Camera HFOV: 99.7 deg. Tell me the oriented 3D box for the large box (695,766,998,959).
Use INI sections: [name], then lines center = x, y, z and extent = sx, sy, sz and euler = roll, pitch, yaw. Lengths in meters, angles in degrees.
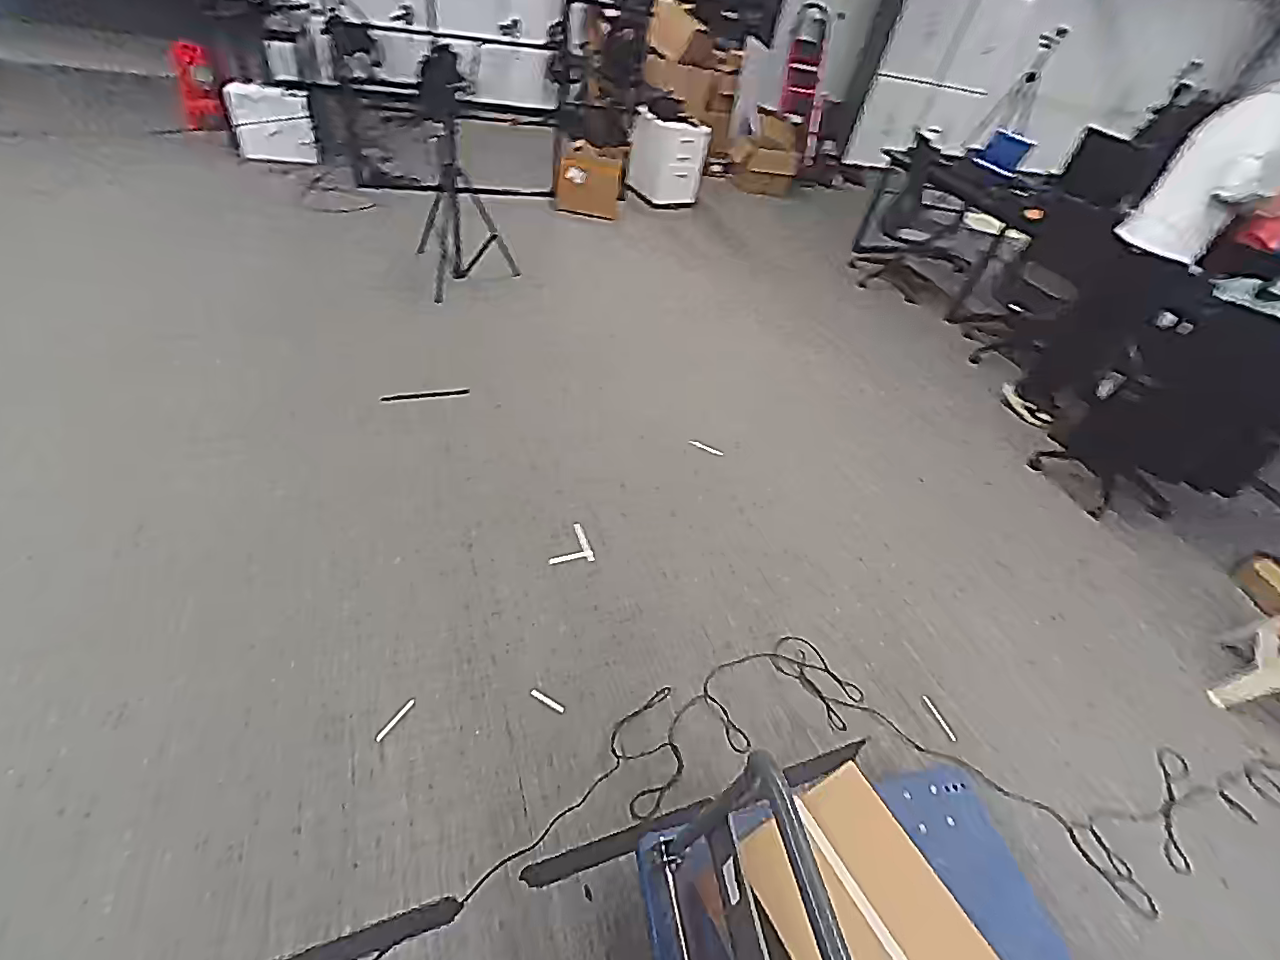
[large box]
center = 0.361, 0.836, 0.996
extent = 0.320, 0.320, 0.408
euler = -17, 52, -27
